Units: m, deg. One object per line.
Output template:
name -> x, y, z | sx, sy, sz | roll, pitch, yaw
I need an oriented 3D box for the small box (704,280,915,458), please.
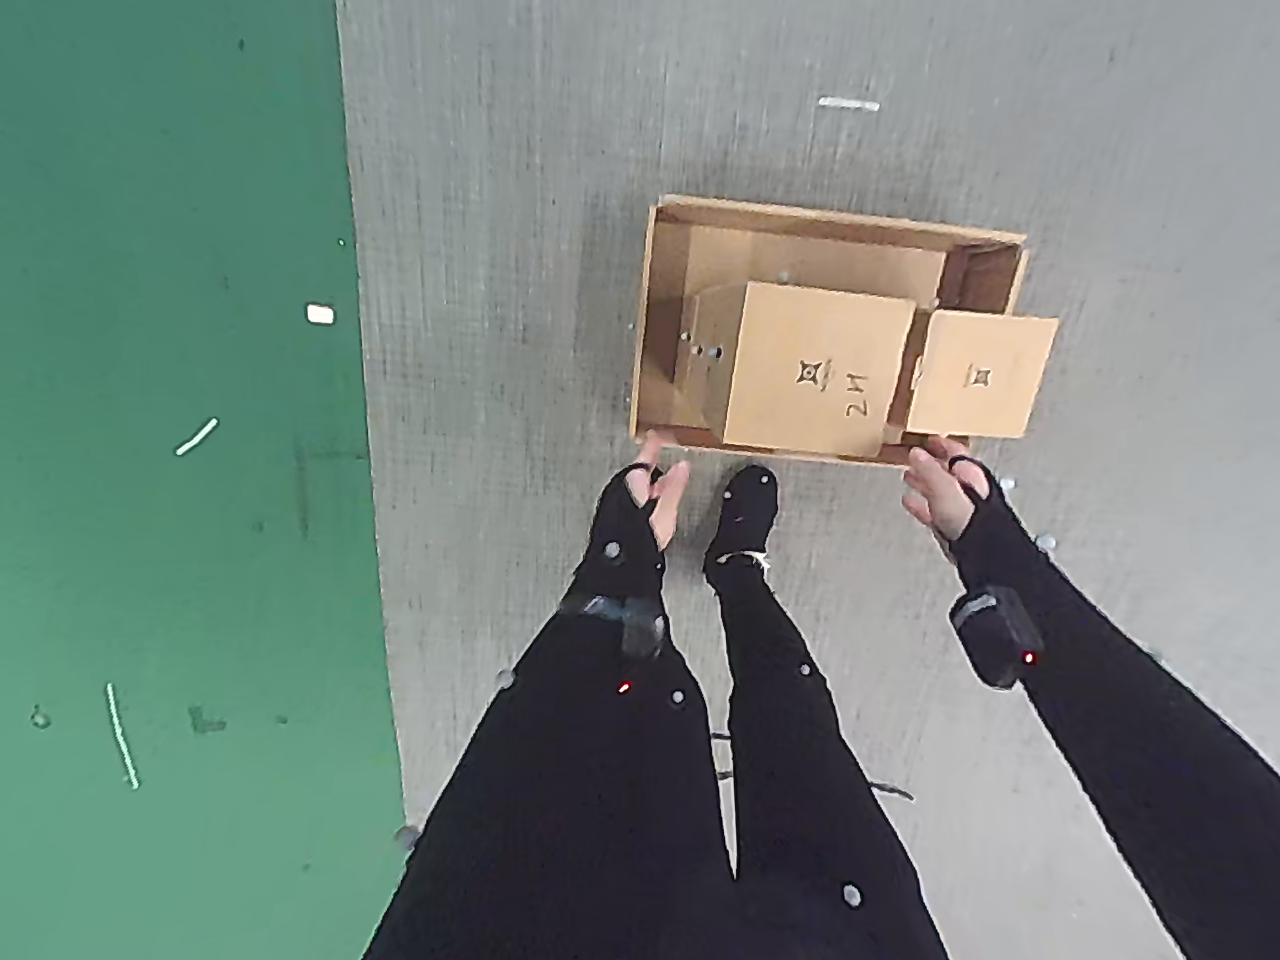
small box -> 0.177, -0.132, 0.631 | 0.179, 0.176, 0.168 | 5, 107, -4

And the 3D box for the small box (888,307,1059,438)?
small box -> 0.456, -0.166, 0.805 | 0.179, 0.176, 0.168 | 3, 109, -3
